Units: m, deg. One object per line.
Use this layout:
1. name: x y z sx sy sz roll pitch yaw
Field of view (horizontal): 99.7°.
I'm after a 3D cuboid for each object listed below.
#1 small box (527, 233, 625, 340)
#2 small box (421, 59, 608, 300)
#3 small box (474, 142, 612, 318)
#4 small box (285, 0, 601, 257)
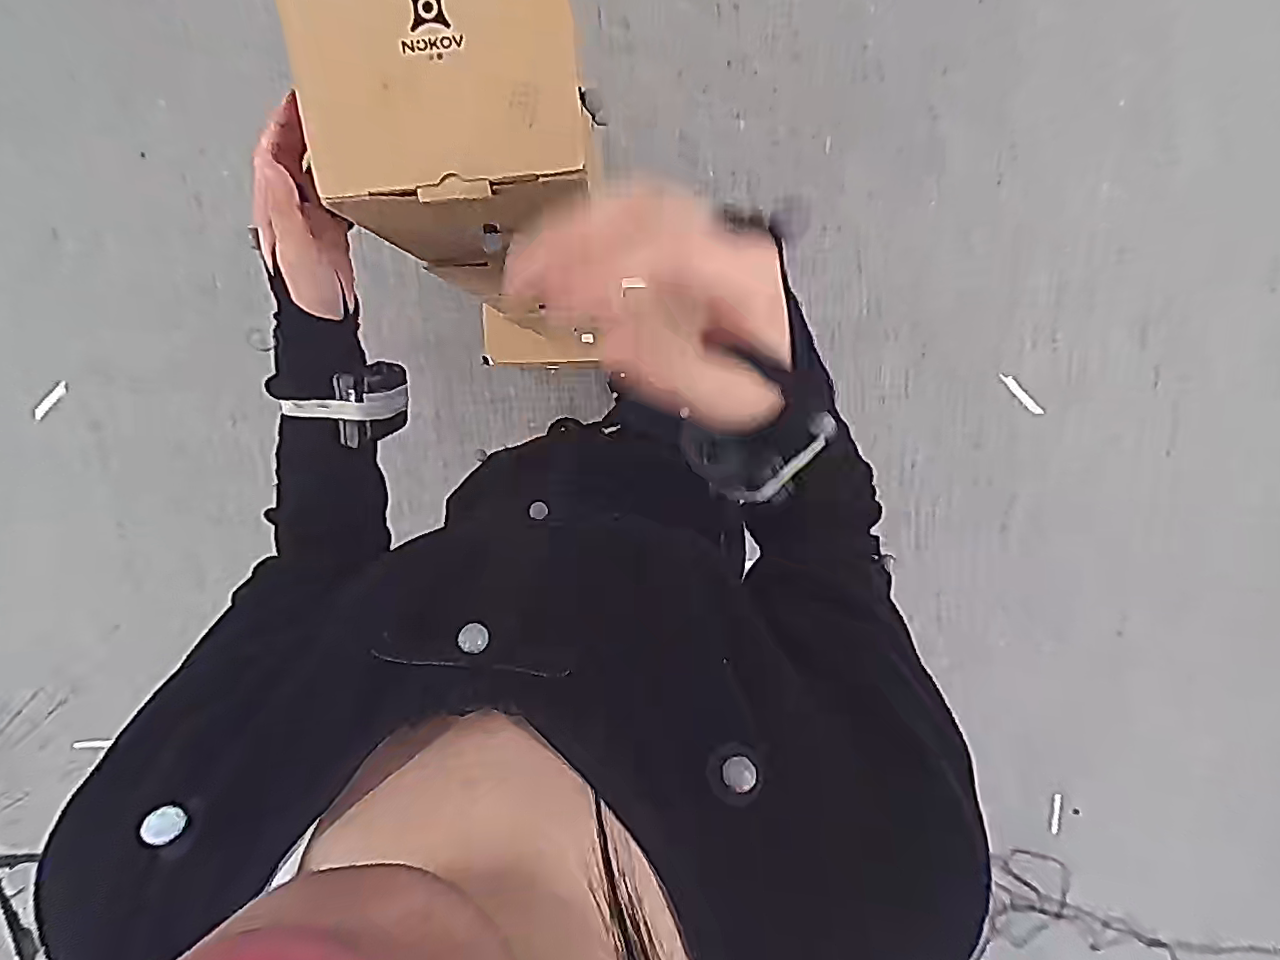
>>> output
1. small box: -0.121 -0.364 1.042 0.179 0.176 0.168 -4 101 -1
2. small box: -0.123 -0.293 0.556 0.168 0.176 0.179 -5 101 0
3. small box: -0.125 -0.318 0.718 0.168 0.176 0.179 -4 101 0
4. small box: -0.120 -0.270 0.393 0.168 0.176 0.179 -6 101 0
